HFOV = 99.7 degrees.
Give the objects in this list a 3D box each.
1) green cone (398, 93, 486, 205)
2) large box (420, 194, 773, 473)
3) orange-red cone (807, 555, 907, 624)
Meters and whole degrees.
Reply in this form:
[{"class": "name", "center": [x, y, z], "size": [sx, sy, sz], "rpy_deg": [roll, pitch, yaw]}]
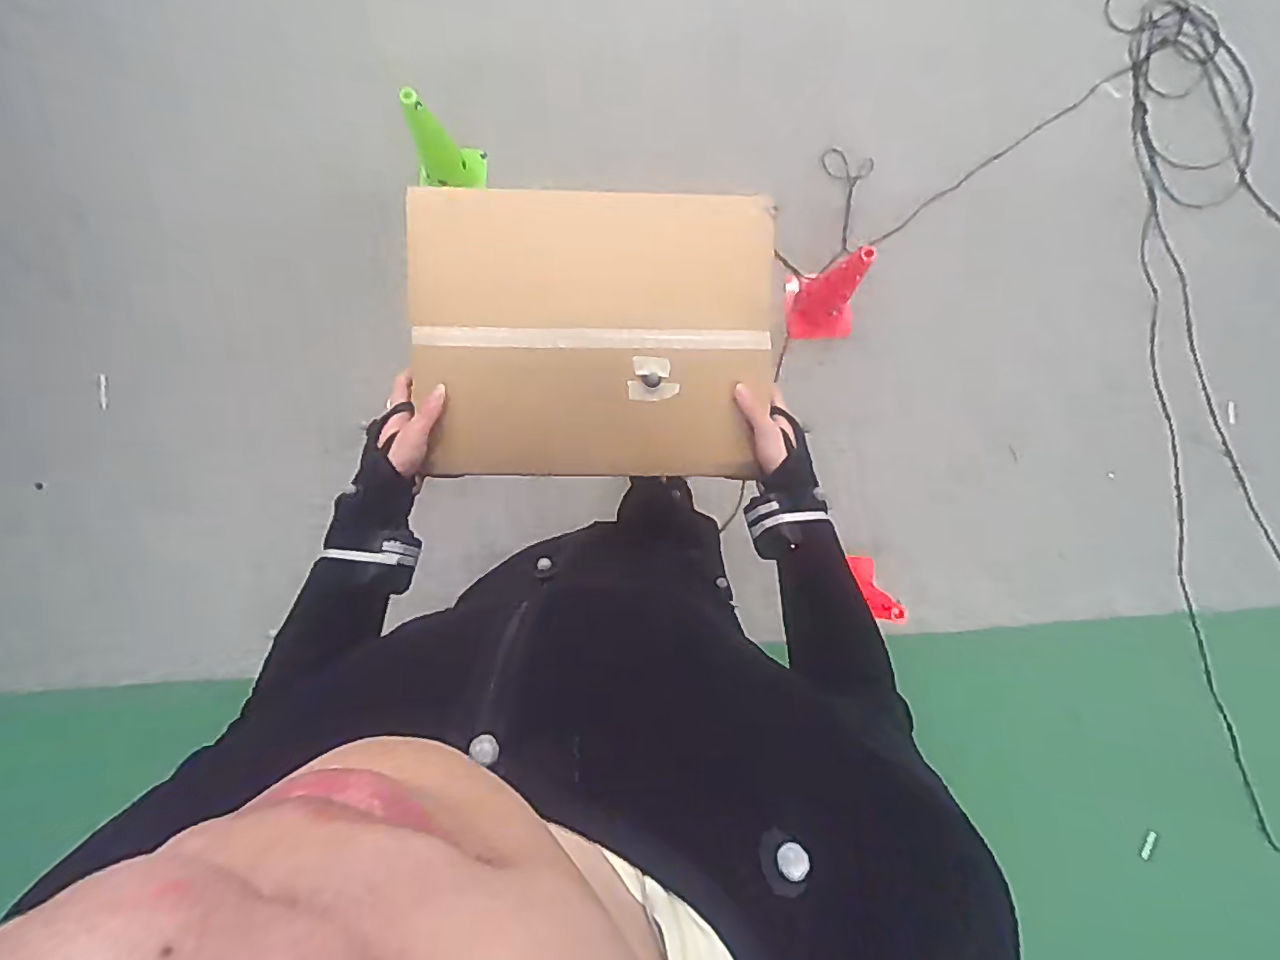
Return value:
[{"class": "green cone", "center": [-0.572, -0.918, 1.481], "size": [0.200, 0.368, 0.202], "rpy_deg": [2, 89, -1]}, {"class": "large box", "center": [-0.054, -0.181, 0.769], "size": [0.408, 0.320, 0.320], "rpy_deg": [0, 97, -3]}, {"class": "orange-red cone", "center": [0.618, 0.328, 1.470], "size": [0.199, 0.360, 0.198], "rpy_deg": [4, 89, -3]}]
